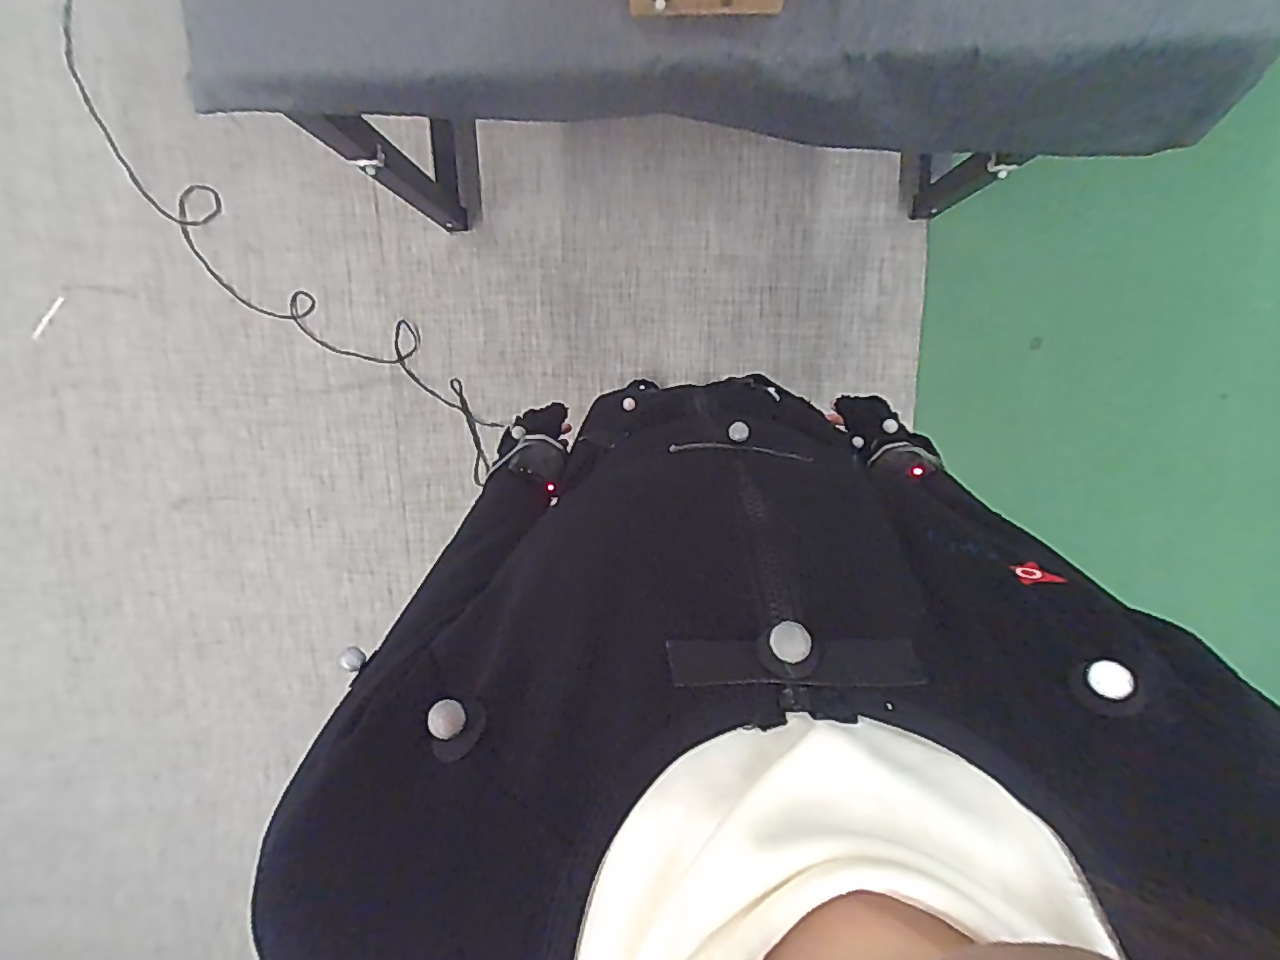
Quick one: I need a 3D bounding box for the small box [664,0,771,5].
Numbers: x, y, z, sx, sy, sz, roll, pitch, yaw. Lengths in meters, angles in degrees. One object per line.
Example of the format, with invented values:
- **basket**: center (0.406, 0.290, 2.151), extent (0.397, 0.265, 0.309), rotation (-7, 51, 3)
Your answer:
- **small box**: center (0.071, -0.599, 0.513), extent (0.168, 0.176, 0.179), rotation (1, 98, 1)
